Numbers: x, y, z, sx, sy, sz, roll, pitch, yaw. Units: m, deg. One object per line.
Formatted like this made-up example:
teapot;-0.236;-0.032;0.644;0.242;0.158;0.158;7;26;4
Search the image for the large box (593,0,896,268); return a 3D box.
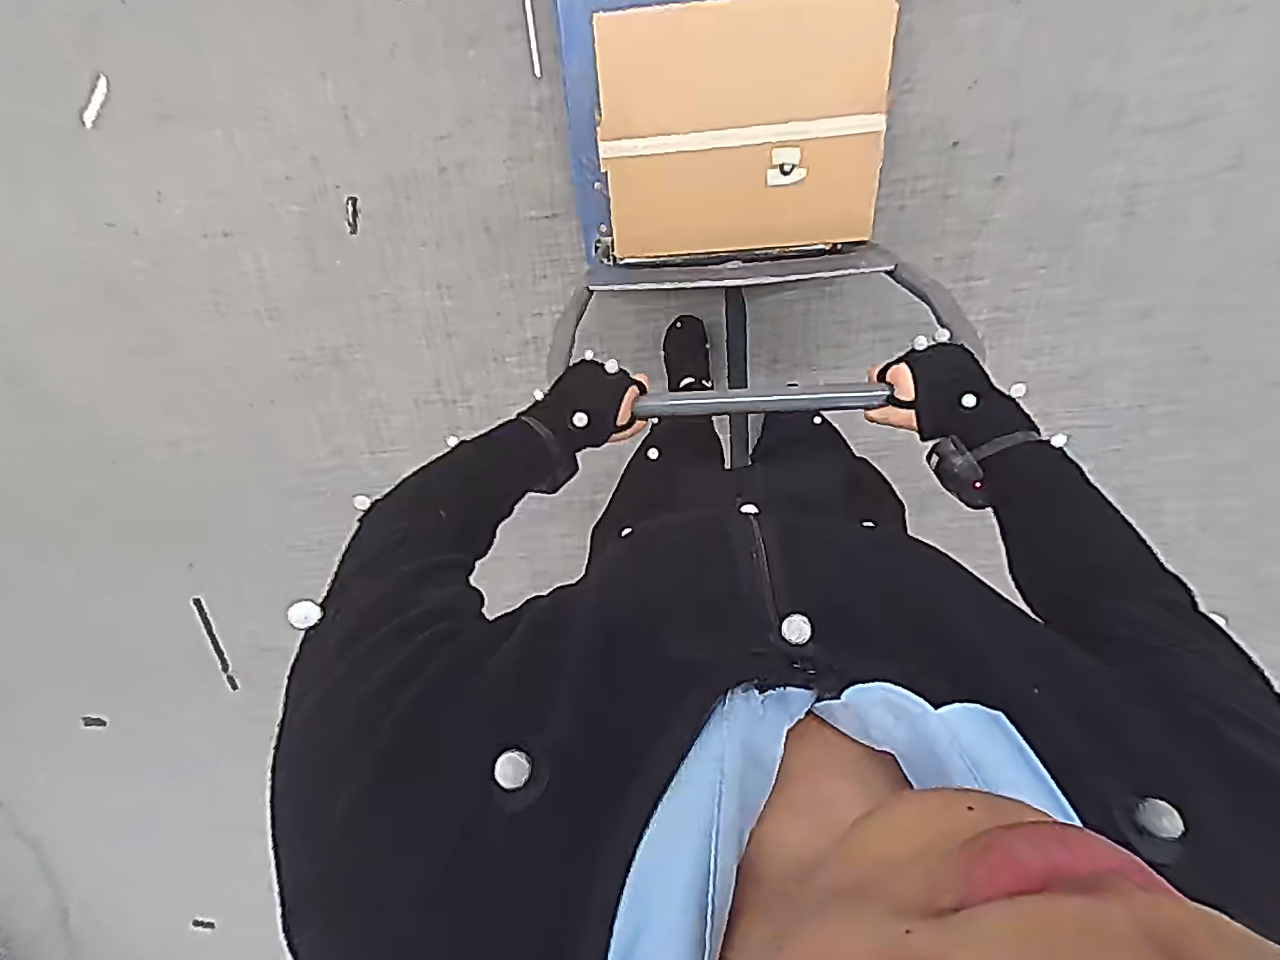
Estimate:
large box;0.154;-0.564;0.913;0.408;0.320;0.320;-3;122;5
